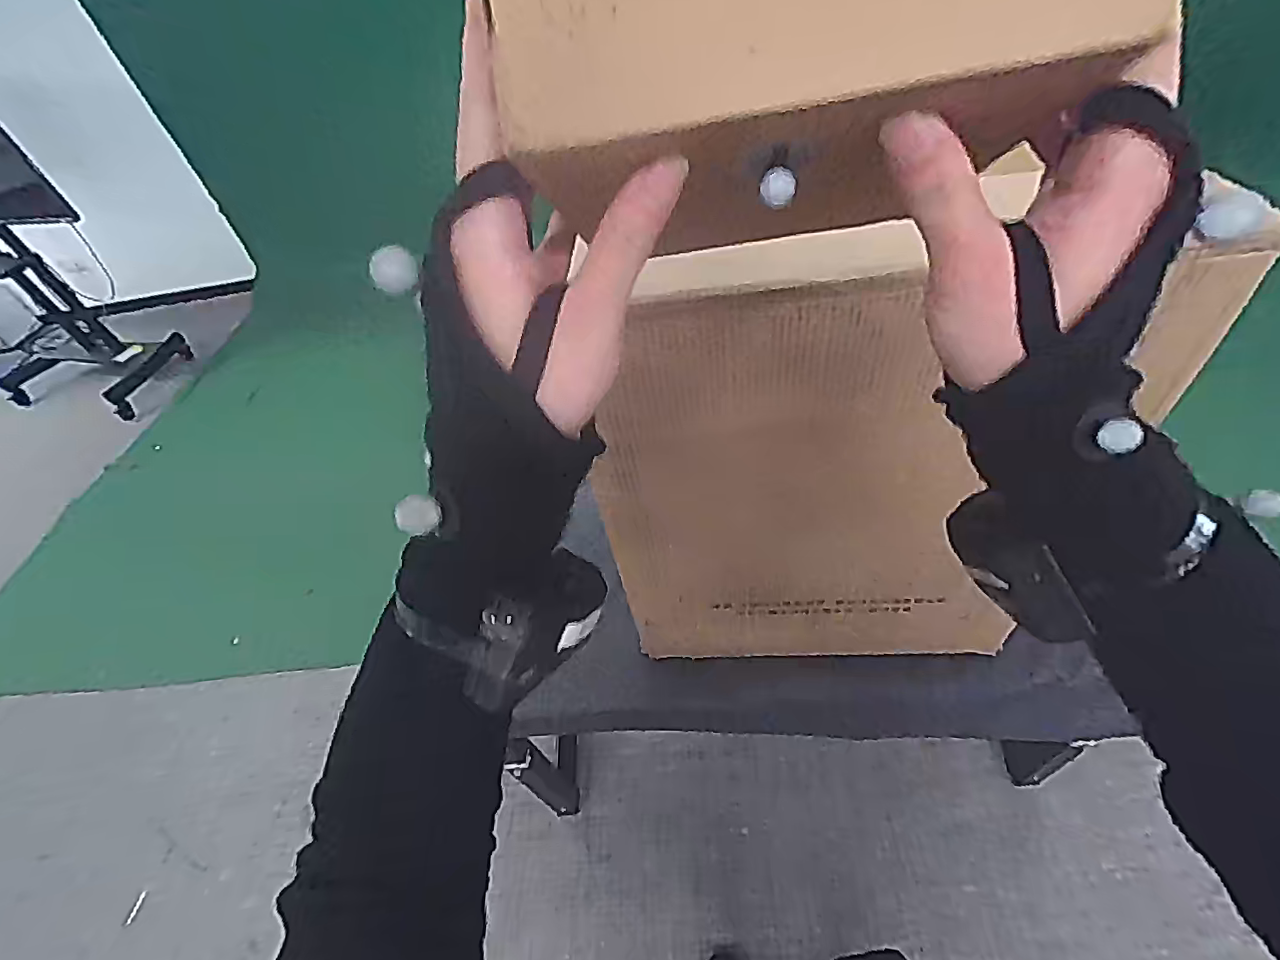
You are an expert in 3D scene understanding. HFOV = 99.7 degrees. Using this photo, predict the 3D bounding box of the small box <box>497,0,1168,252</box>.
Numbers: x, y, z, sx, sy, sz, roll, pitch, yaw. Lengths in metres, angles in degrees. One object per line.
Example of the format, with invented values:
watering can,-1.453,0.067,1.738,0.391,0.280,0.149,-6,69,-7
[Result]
small box,0.048,-0.200,0.212,0.179,0.168,0.176,-6,11,6
